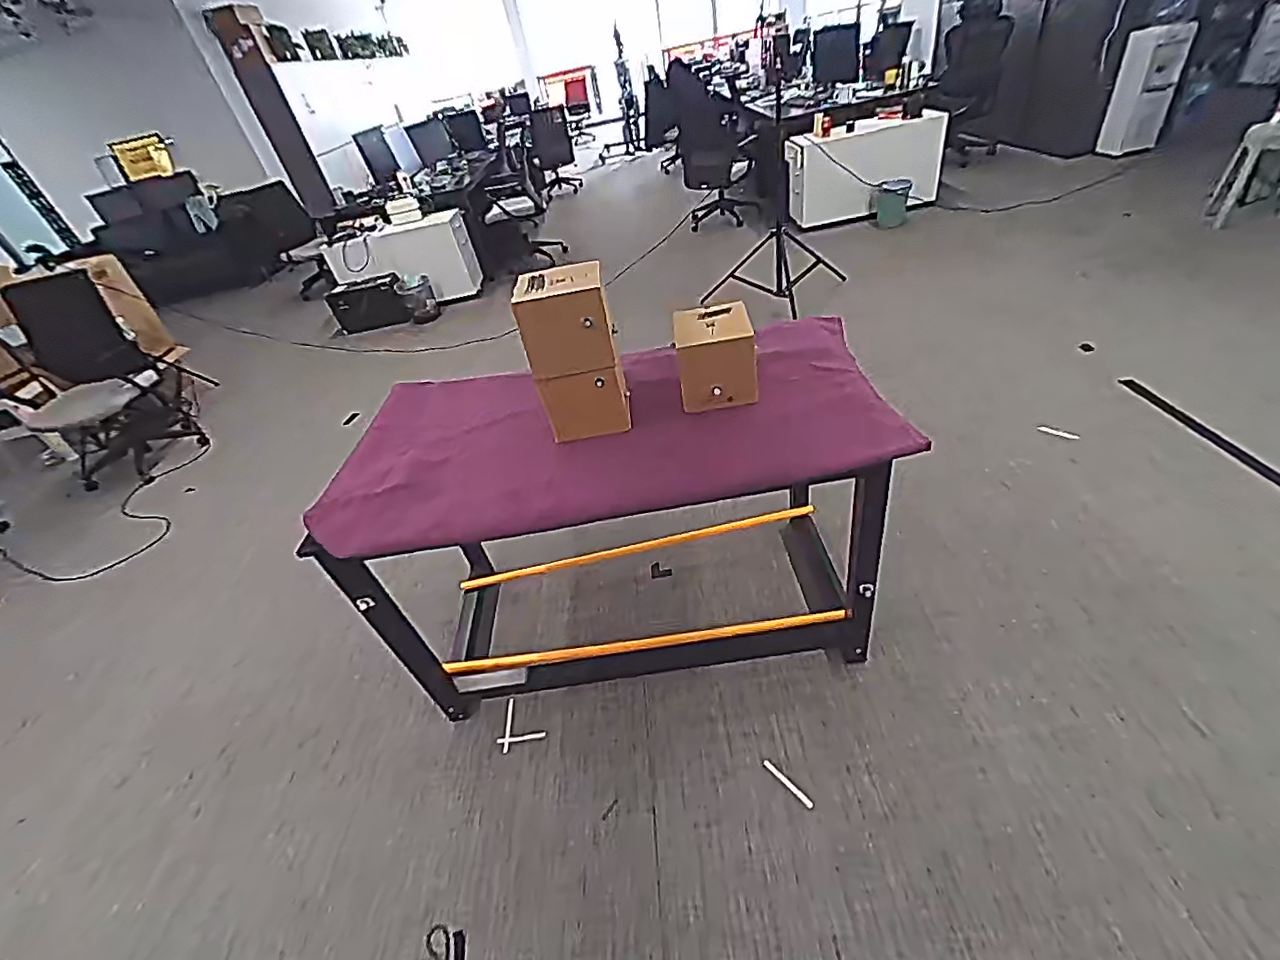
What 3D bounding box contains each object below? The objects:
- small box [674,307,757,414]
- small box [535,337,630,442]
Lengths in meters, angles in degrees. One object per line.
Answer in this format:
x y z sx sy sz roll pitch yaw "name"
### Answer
0.170 -0.272 1.230 0.168 0.176 0.179 -8 40 7 "small box"
-0.125 -0.203 1.233 0.179 0.176 0.168 -9 38 4 "small box"
